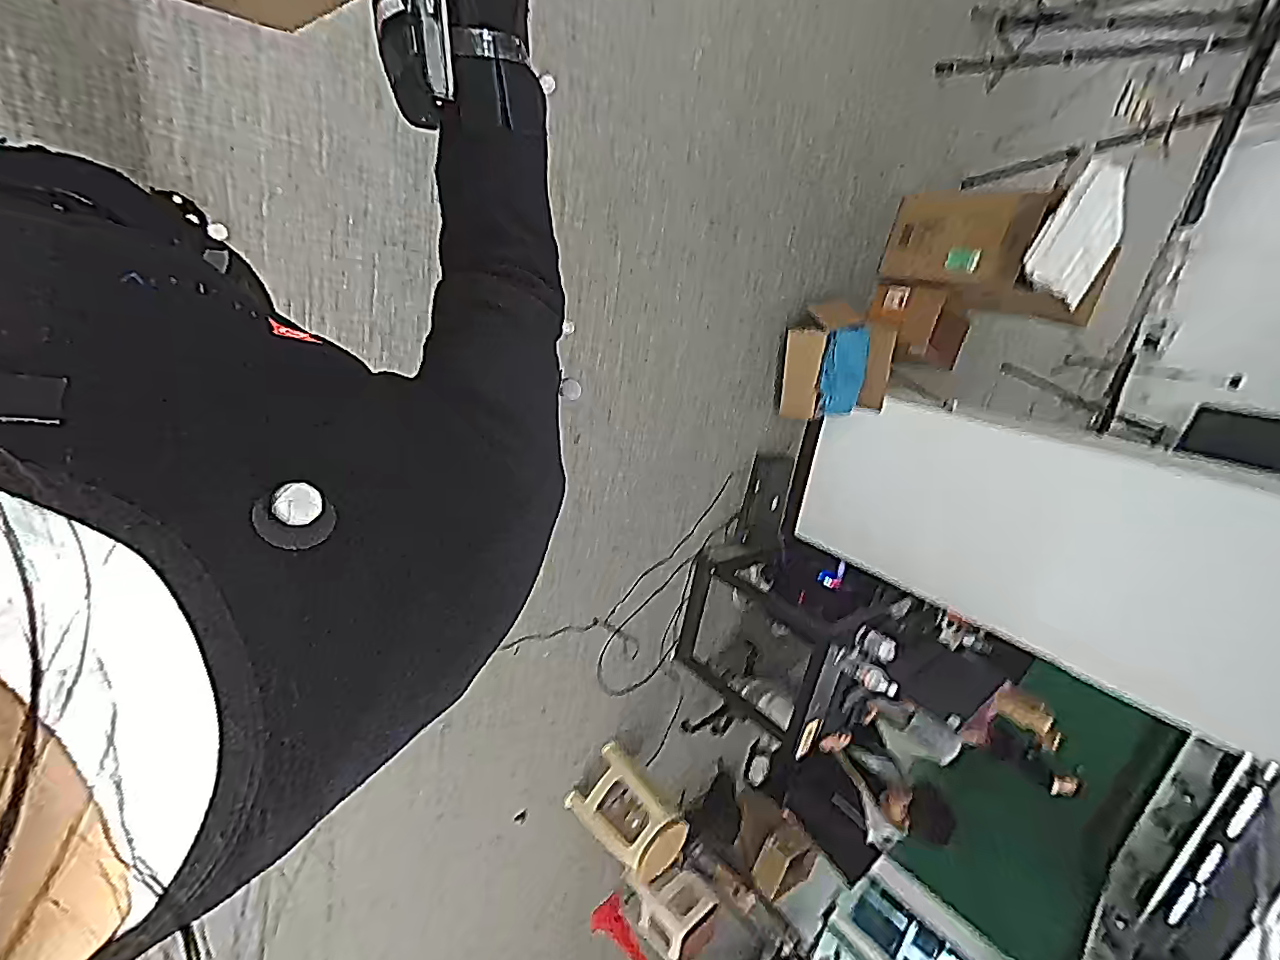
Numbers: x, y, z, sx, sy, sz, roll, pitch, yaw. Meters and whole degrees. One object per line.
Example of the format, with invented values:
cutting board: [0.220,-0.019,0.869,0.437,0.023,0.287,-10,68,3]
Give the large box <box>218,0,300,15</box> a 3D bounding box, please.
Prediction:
large box: [-0.366,-0.463,0.218,0.408,0.320,0.320,-13,125,-39]
